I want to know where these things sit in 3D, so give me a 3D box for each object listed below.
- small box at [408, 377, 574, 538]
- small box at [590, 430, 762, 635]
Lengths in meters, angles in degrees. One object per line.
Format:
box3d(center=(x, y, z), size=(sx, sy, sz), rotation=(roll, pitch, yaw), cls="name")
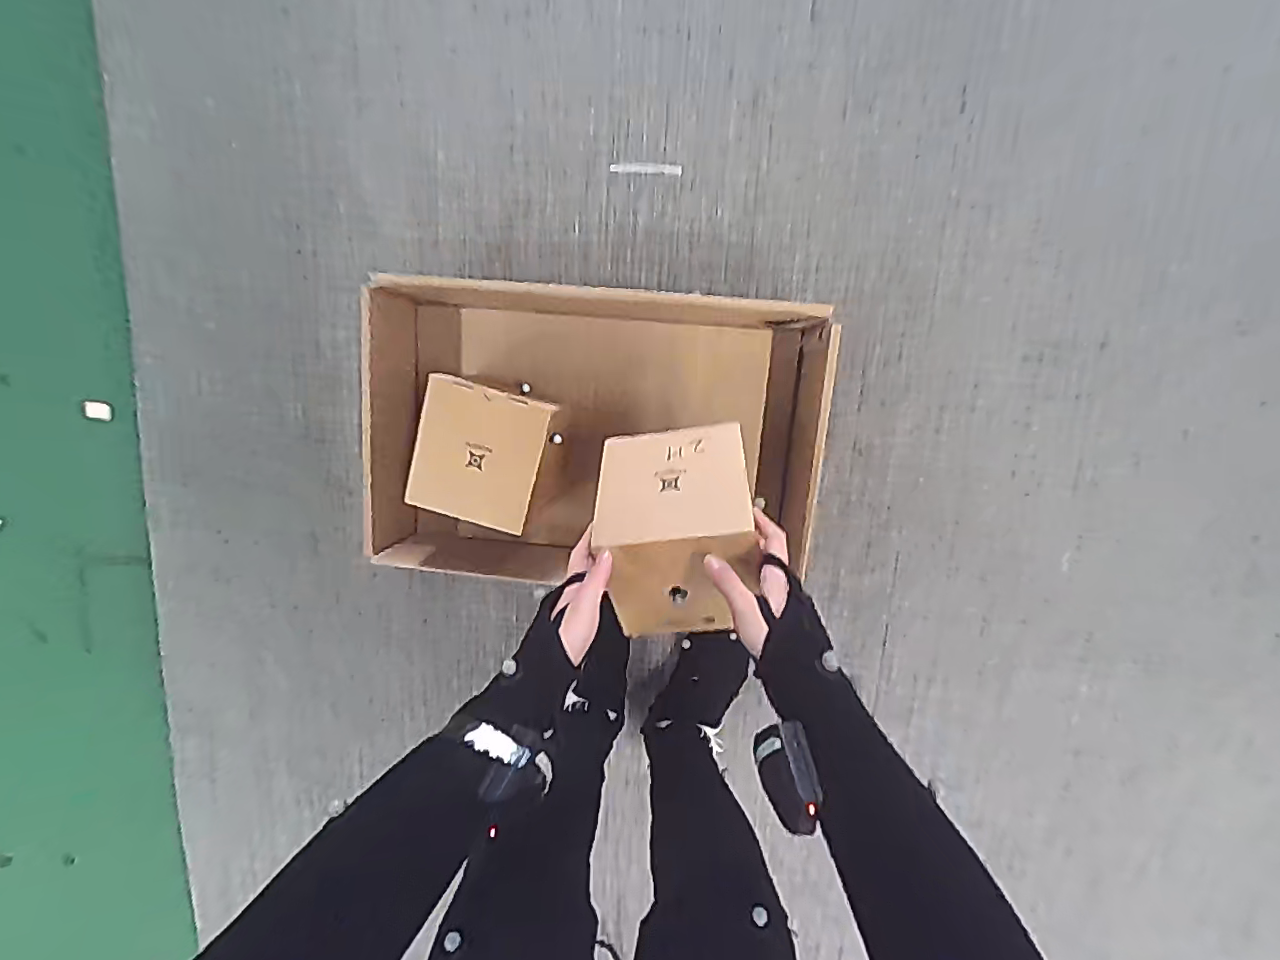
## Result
box3d(center=(-0.203, -0.039, 0.779), size=(0.168, 0.176, 0.179), rotation=(16, 99, 2), cls="small box")
box3d(center=(0.049, 0.067, 0.630), size=(0.168, 0.179, 0.176), rotation=(-6, 131, 9), cls="small box")
